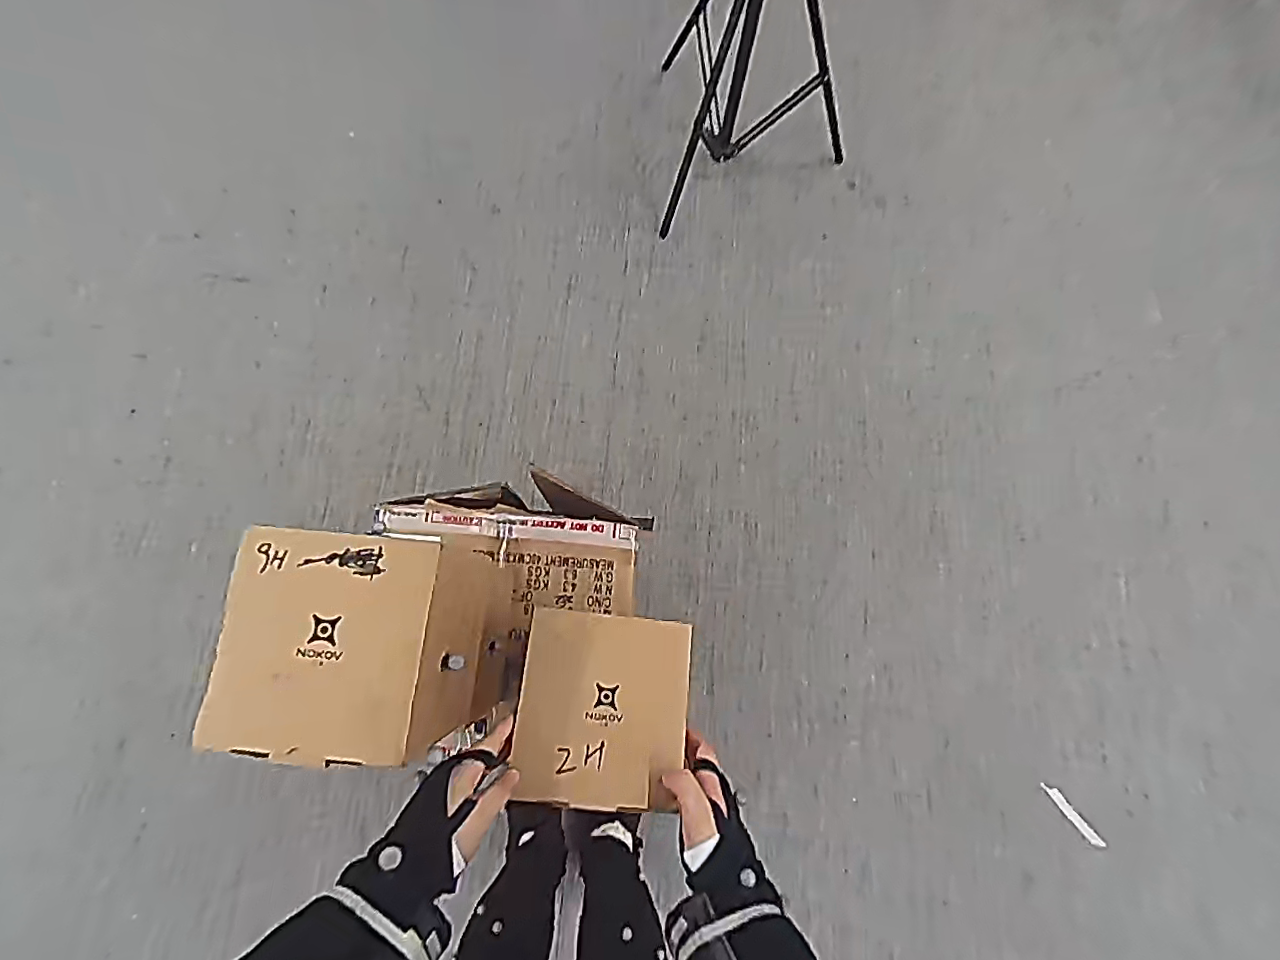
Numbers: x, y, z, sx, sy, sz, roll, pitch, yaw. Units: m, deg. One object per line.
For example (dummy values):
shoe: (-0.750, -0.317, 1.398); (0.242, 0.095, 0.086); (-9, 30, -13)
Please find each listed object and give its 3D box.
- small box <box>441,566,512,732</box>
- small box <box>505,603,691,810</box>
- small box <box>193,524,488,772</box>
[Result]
small box: (-0.259, 0.191, 0.659); (0.168, 0.176, 0.179); (3, 78, 0)
small box: (-0.045, 0.244, 0.600); (0.168, 0.176, 0.179); (7, 70, -4)
small box: (-0.251, 0.143, 0.502); (0.168, 0.176, 0.179); (5, 78, 0)
